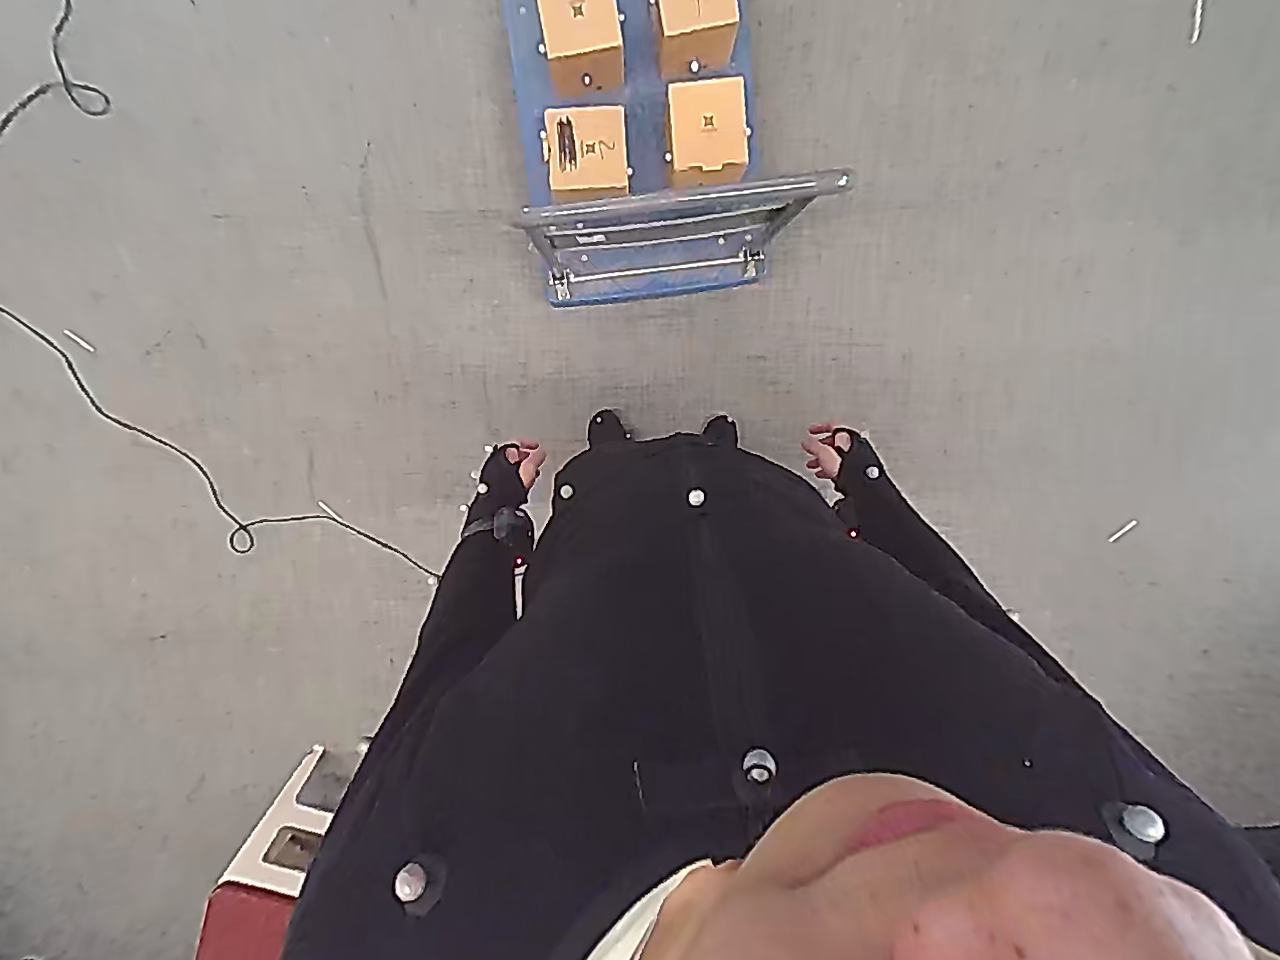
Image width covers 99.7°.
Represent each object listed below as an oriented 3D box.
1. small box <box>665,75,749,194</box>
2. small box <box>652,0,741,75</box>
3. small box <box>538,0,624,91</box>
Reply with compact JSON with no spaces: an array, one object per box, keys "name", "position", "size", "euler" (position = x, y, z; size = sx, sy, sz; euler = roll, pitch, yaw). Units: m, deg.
[{"name":"small box","position":[0.150,-0.791,1.251],"size":[0.168,0.176,0.179],"euler":[-6,99,0]},{"name":"small box","position":[0.119,-1.056,1.207],"size":[0.168,0.176,0.179],"euler":[-10,100,2]},{"name":"small box","position":[-0.130,-1.011,1.213],"size":[0.168,0.176,0.179],"euler":[-10,99,0]}]
